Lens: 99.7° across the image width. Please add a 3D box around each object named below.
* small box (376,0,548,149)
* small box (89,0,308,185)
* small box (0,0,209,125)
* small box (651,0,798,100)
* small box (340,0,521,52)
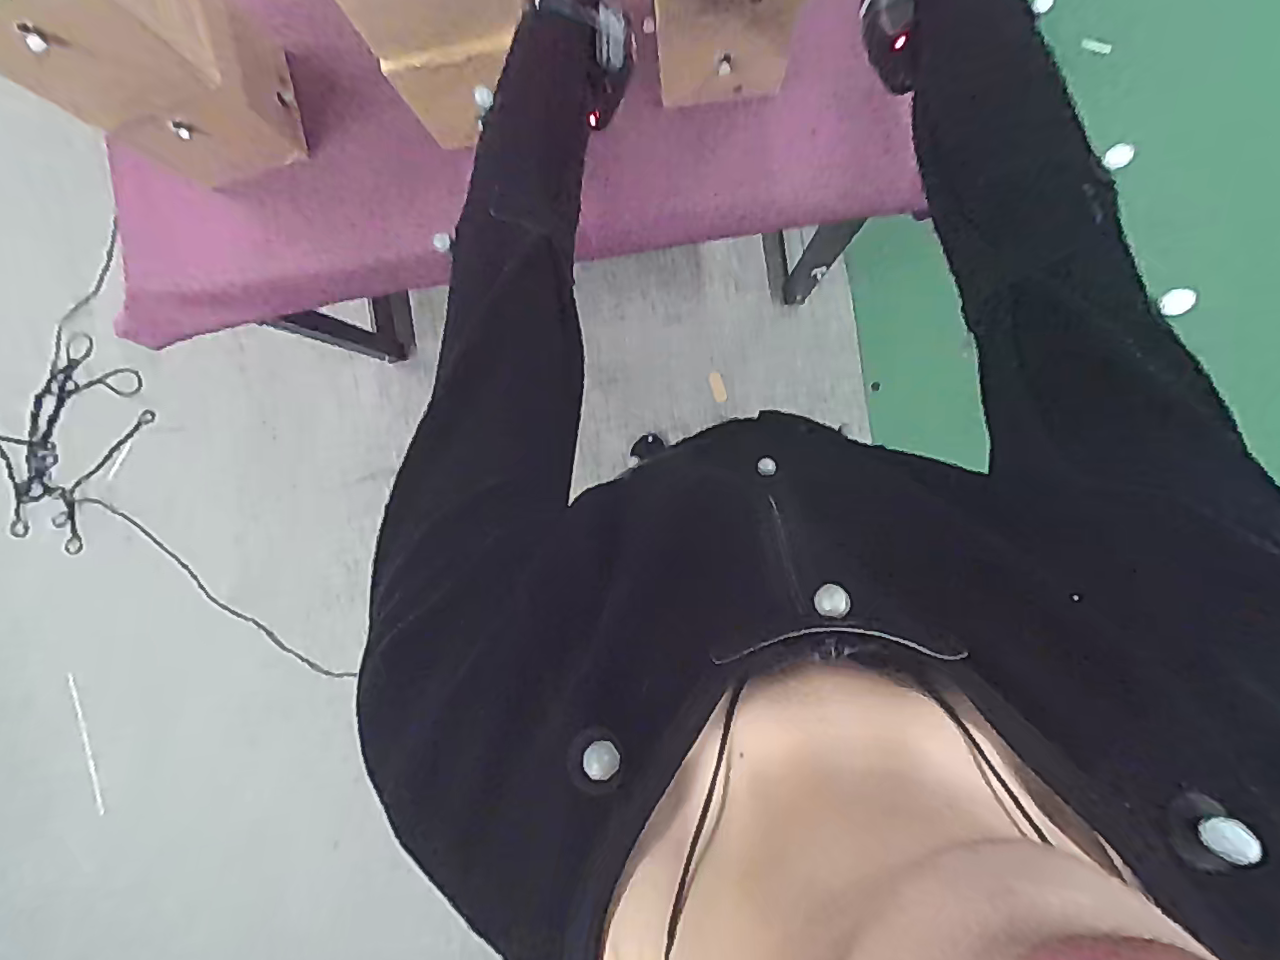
[{"bbox_3d":[-0.226,-0.572,0.700,0.168,0.176,0.179,-6,92,5],"label":"small box"},{"bbox_3d":[-0.600,-0.534,0.733,0.179,0.176,0.168,-12,92,5],"label":"small box"},{"bbox_3d":[-0.607,-0.523,0.572,0.179,0.176,0.168,-14,93,6],"label":"small box"},{"bbox_3d":[0.097,-0.609,0.672,0.168,0.176,0.179,-4,93,5],"label":"small box"},{"bbox_3d":[-0.237,-0.575,0.536,0.179,0.176,0.168,-9,91,4],"label":"small box"}]
